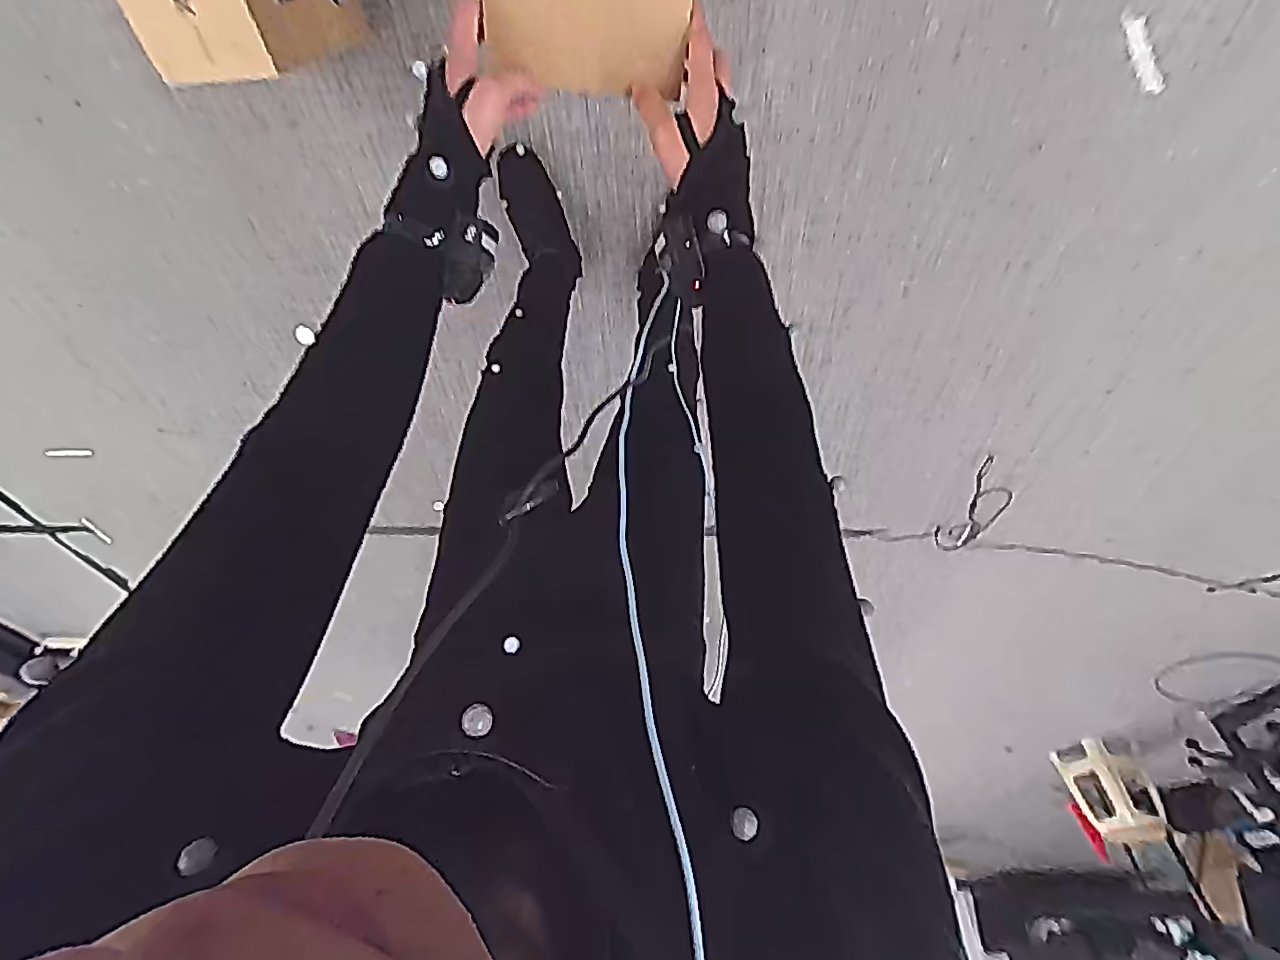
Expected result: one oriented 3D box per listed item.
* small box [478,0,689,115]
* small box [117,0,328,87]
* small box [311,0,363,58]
[{"bbox_3d":[-0.041,-0.440,0.460,0.168,0.176,0.179,4,133,-6],"label":"small box"},{"bbox_3d":[-0.558,-0.647,0.716,0.168,0.176,0.179,0,137,4],"label":"small box"},{"bbox_3d":[-0.558,-0.764,0.832,0.179,0.176,0.168,-1,136,4],"label":"small box"}]
